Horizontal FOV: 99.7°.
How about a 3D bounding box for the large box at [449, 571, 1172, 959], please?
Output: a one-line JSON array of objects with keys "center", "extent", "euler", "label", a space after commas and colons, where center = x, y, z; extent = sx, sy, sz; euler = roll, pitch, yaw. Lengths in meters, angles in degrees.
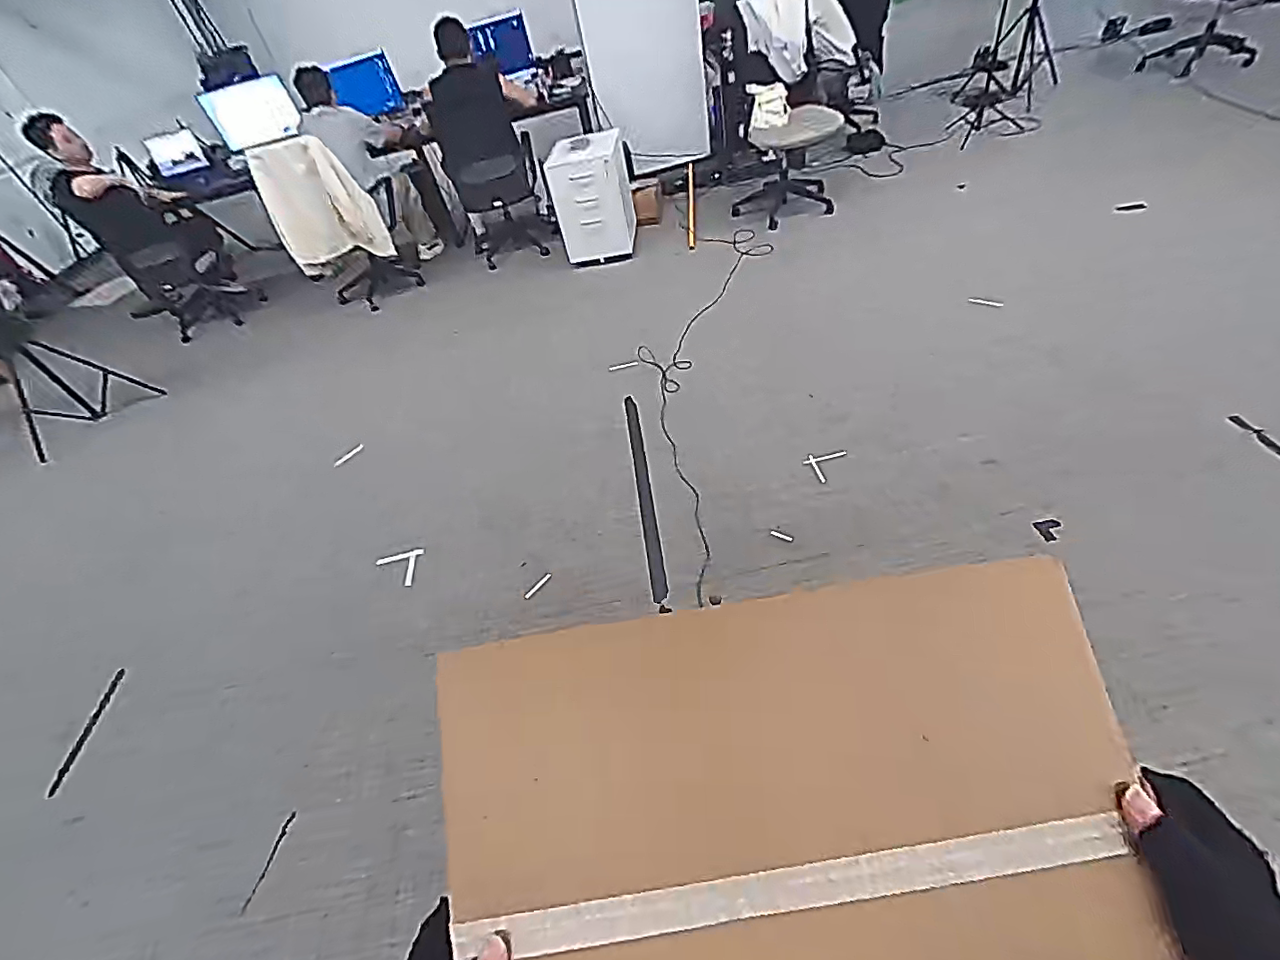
[{"center": [0.101, 0.277, 0.464], "extent": [0.408, 0.320, 0.320], "euler": [-10, 74, -1], "label": "large box"}]
